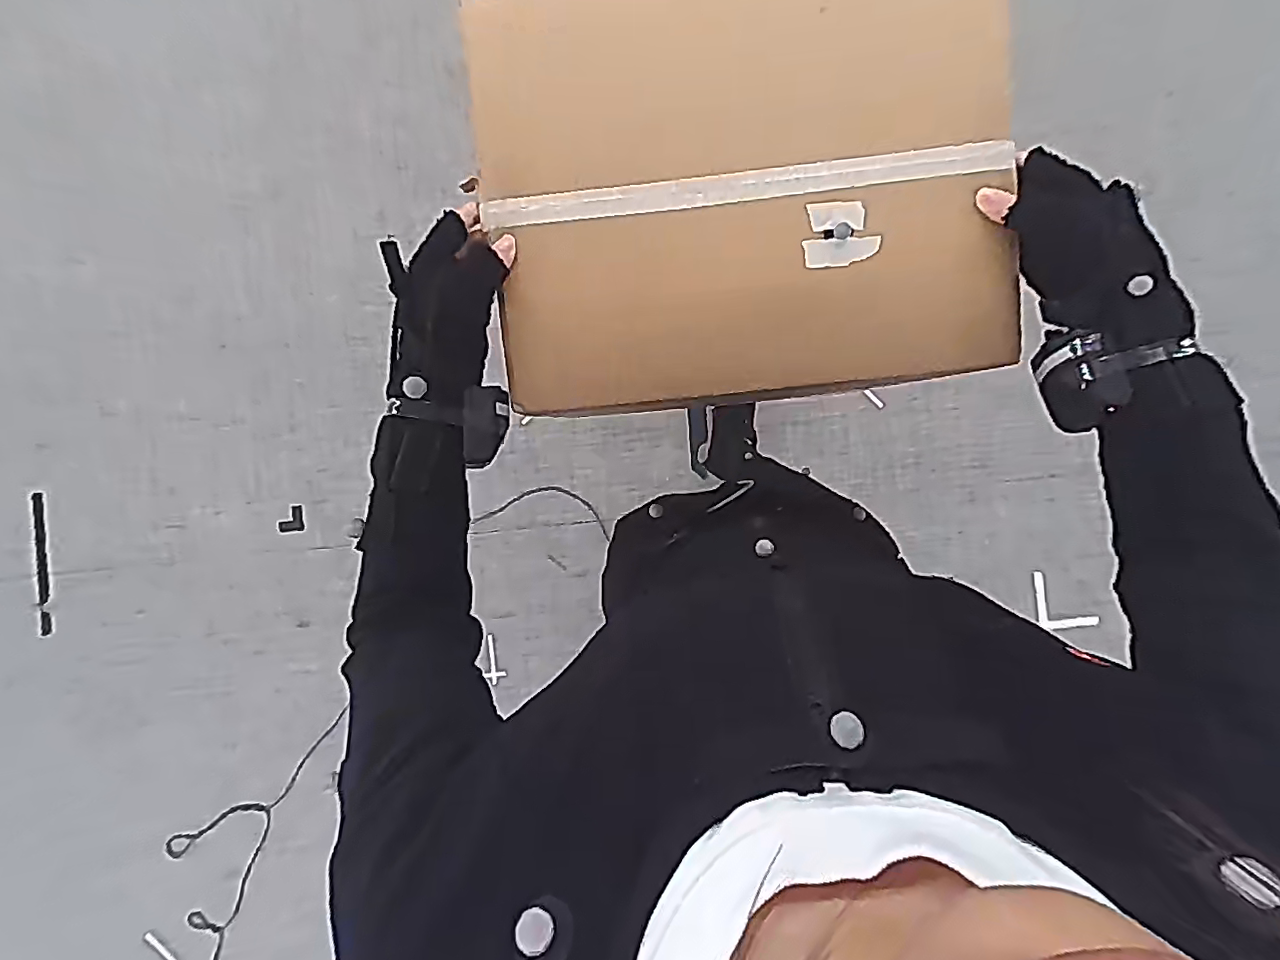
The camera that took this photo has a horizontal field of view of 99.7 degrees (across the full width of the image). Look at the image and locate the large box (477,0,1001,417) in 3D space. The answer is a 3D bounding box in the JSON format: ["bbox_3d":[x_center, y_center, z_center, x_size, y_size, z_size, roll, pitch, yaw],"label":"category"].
[{"bbox_3d":[0.084,-0.247,0.582,0.408,0.320,0.320,-6,96,1],"label":"large box"}]
